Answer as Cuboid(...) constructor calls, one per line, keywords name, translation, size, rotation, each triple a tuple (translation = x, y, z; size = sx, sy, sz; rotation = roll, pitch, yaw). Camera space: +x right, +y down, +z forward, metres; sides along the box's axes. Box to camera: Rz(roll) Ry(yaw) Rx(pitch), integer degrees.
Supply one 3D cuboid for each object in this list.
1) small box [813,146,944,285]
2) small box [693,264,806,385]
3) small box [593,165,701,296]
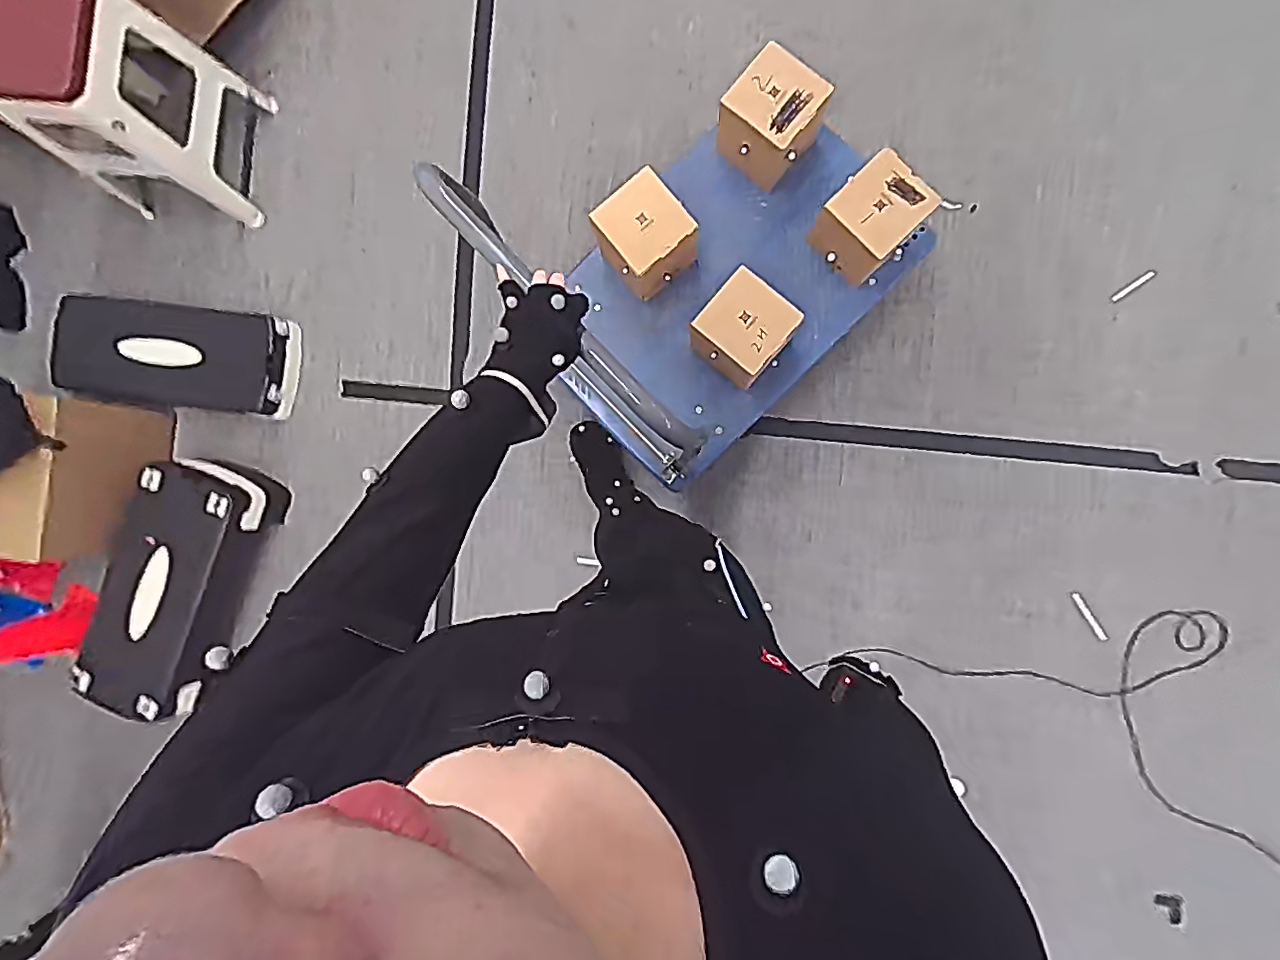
Cuboid(name="small box", translation=(0.508, -0.566, 1.182), size=(0.179, 0.176, 0.168), rotation=(-43, 86, 4))
Cuboid(name="small box", translation=(0.232, -0.333, 1.201), size=(0.179, 0.176, 0.168), rotation=(42, 93, 4))
Cuboid(name="small box", translation=(0.017, -0.552, 1.223), size=(0.168, 0.176, 0.179), rotation=(-39, 88, 3))
